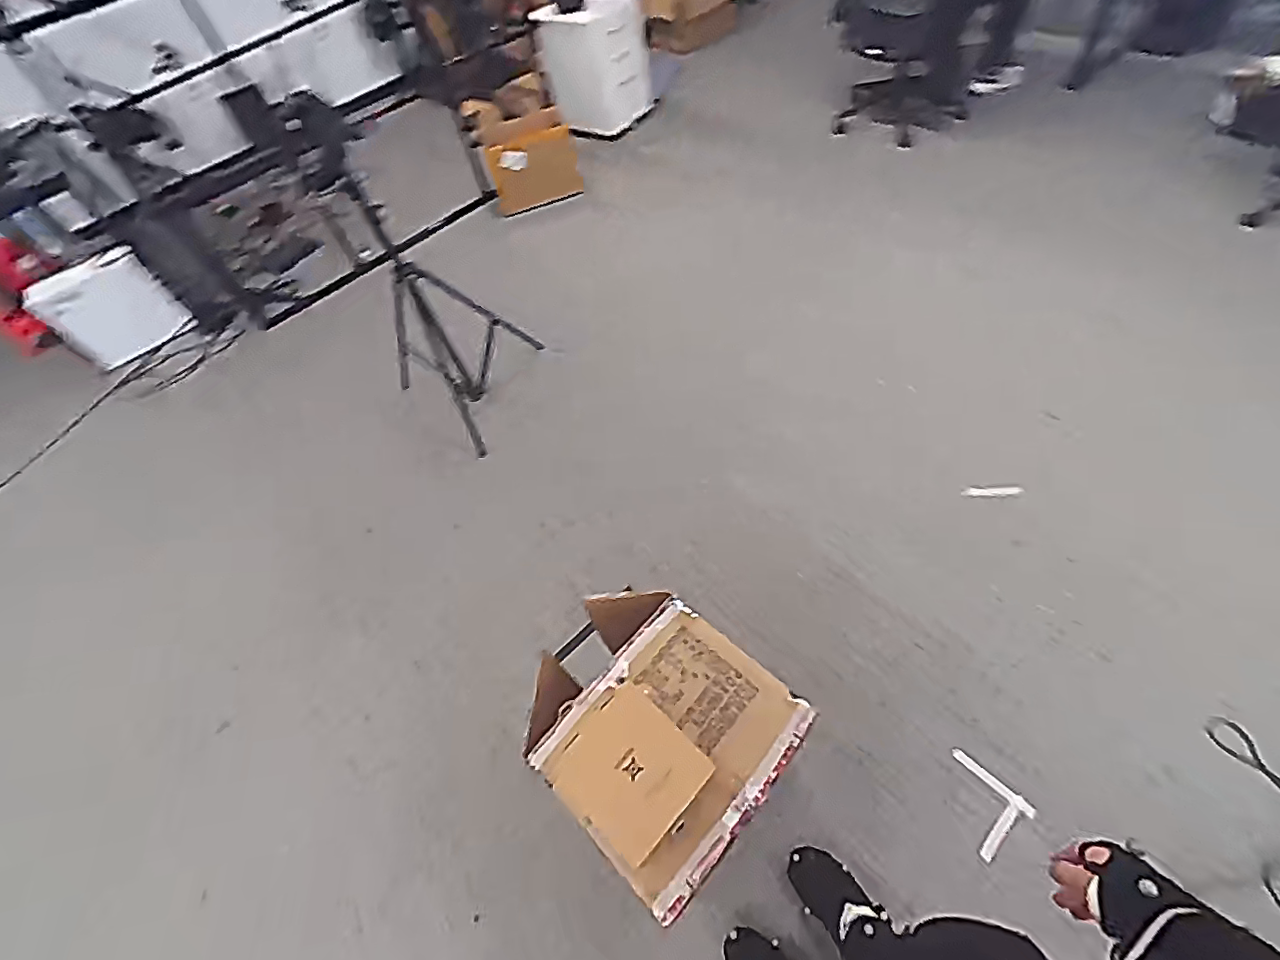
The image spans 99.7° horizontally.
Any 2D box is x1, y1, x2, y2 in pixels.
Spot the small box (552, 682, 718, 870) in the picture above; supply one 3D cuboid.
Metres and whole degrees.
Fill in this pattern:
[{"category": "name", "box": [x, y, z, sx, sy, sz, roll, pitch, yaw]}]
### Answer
[{"category": "small box", "box": [0.000, 0.442, 0.814, 0.179, 0.176, 0.168, 36, 70, 26]}]
